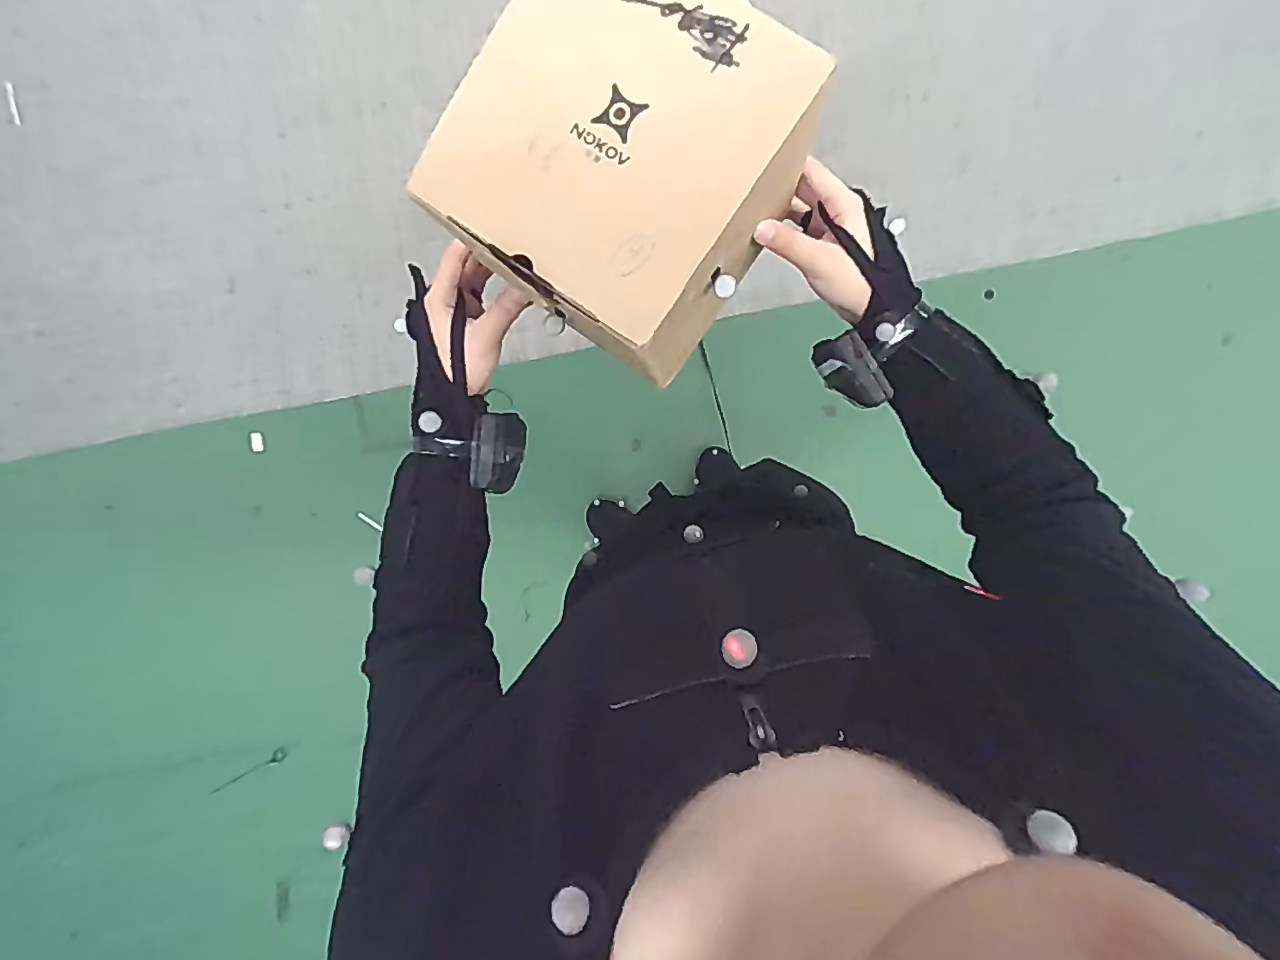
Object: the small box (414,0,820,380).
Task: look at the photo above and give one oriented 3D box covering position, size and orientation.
[{"bbox_3d":[-0.007,-0.189,0.372,0.168,0.176,0.179,35,96,5],"label":"small box"}]
